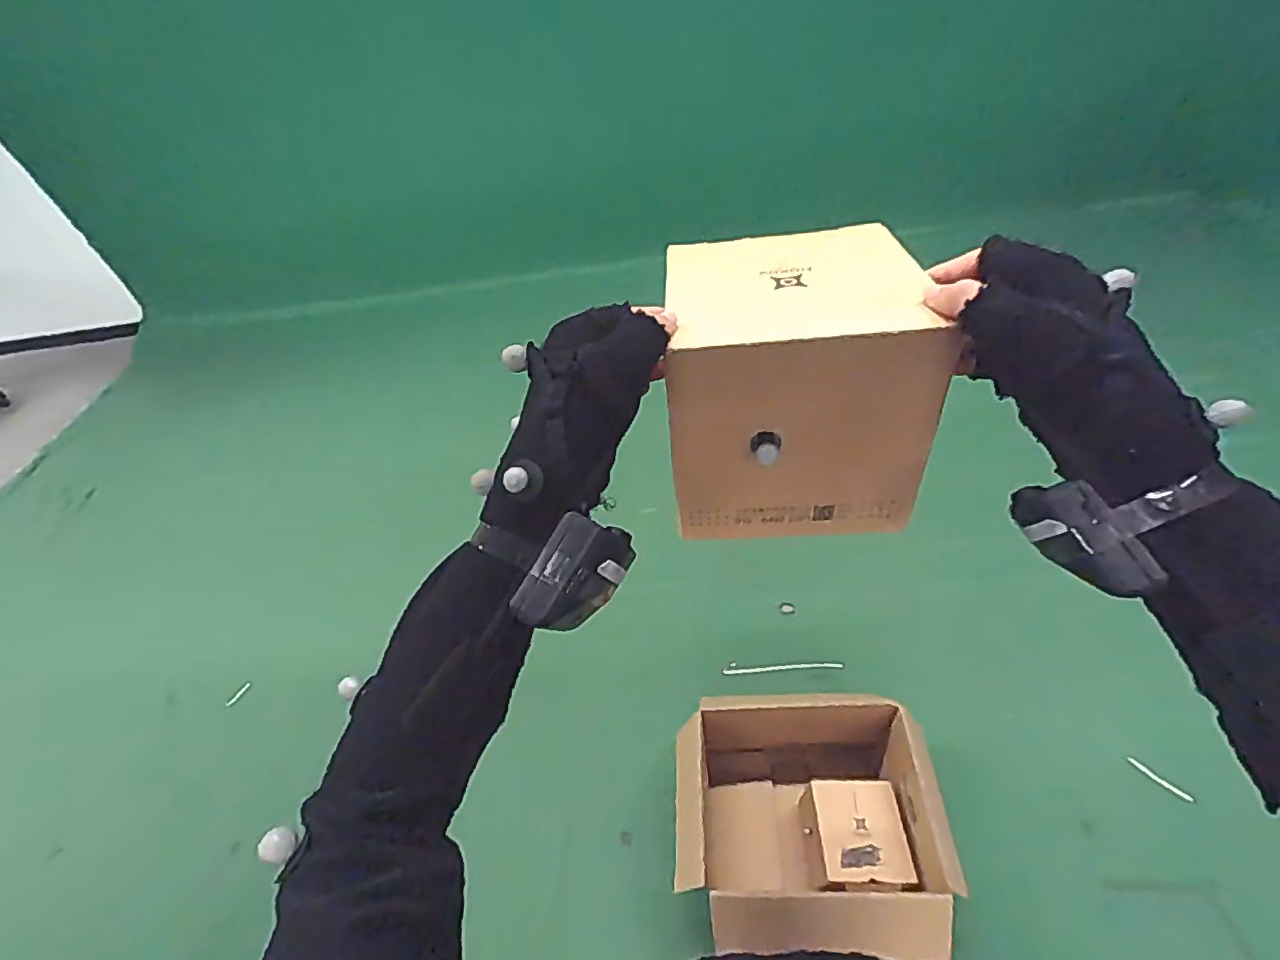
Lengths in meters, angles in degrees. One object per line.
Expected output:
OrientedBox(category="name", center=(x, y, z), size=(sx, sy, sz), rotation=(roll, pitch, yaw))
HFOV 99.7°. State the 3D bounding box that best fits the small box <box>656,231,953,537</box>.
OrientedBox(category="small box", center=(0.105, -0.068, 0.413), size=(0.168, 0.176, 0.179), rotation=(-3, 40, 7))
